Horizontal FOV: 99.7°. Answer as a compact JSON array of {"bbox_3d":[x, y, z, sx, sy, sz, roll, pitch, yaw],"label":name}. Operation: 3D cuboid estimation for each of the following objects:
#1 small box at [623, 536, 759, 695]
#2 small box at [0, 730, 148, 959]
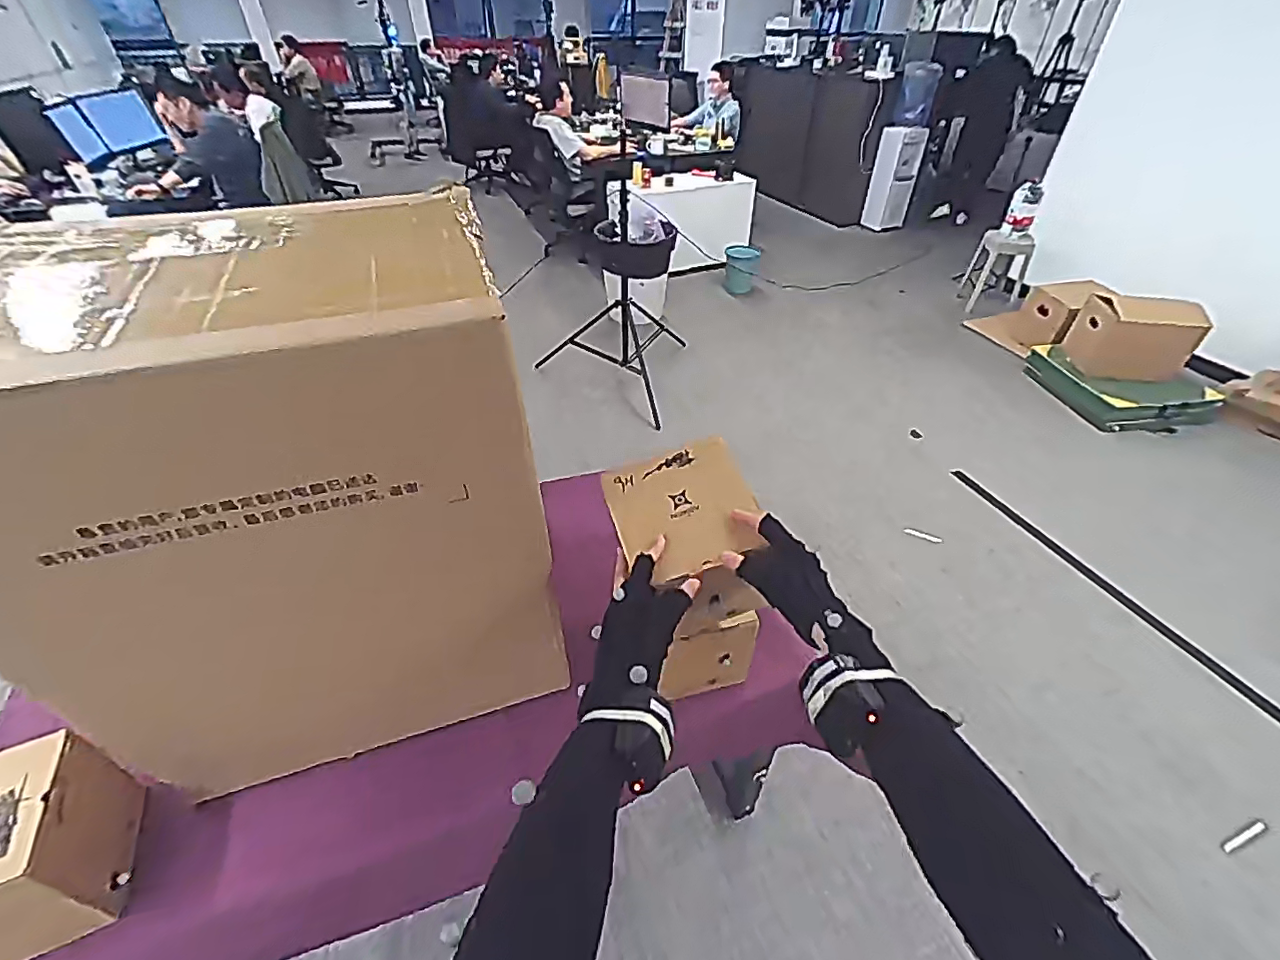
[{"bbox_3d":[0.072,0.219,0.860,0.168,0.176,0.179,-9,40,-11],"label":"small box"},{"bbox_3d":[-0.713,0.428,0.612,0.179,0.176,0.168,-17,42,-21],"label":"small box"}]
